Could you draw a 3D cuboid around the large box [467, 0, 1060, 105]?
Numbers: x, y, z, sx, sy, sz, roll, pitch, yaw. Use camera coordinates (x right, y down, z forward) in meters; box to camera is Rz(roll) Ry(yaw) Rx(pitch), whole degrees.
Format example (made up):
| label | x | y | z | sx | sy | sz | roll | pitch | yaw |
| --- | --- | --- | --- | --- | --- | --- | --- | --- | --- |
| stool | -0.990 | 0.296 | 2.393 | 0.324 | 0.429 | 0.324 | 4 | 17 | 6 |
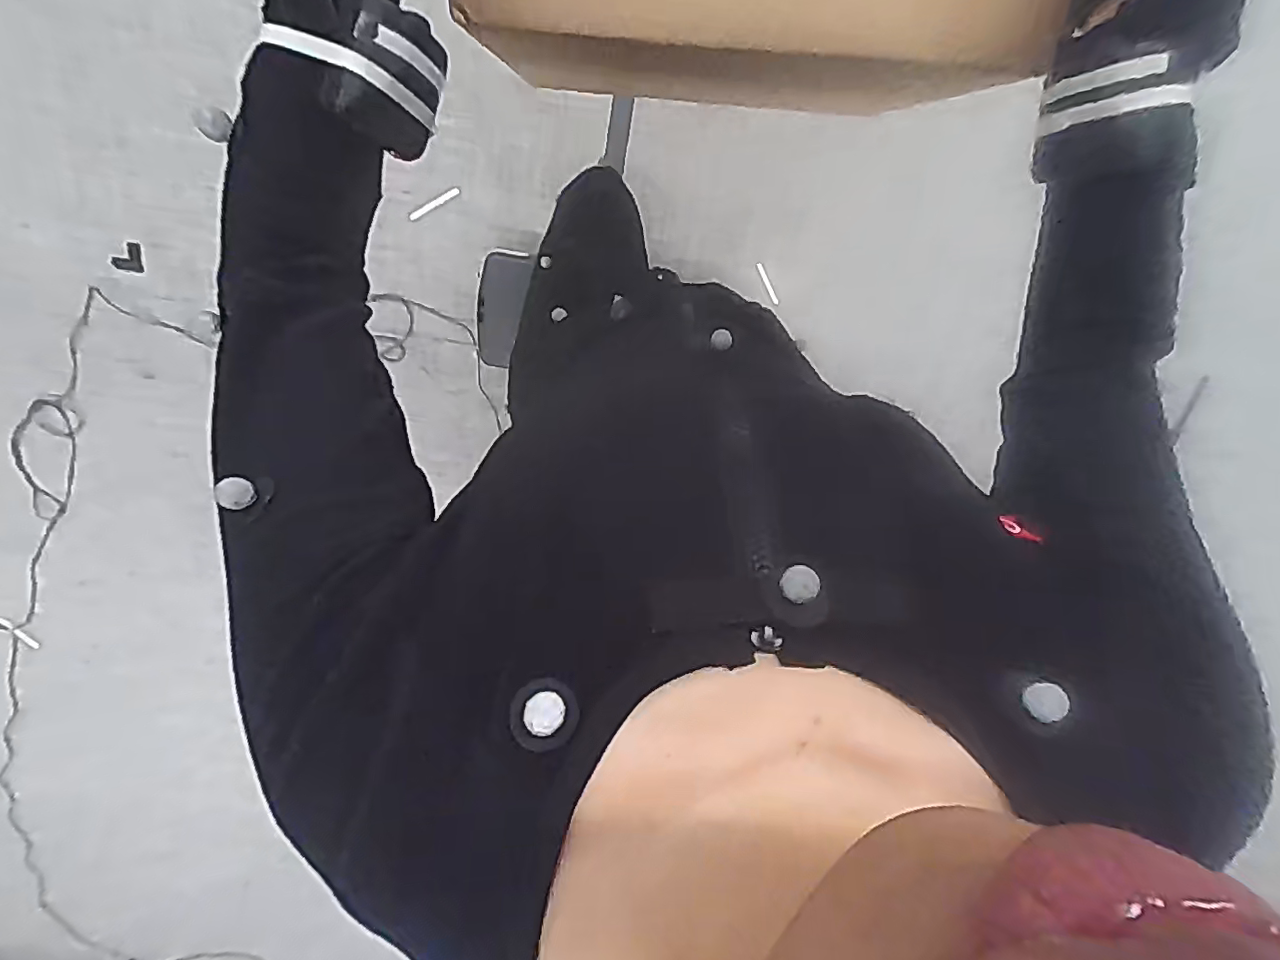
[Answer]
| label | x | y | z | sx | sy | sz | roll | pitch | yaw |
| --- | --- | --- | --- | --- | --- | --- | --- | --- | --- |
| large box | 0.082 | -0.503 | 0.421 | 0.408 | 0.320 | 0.320 | 2 | 120 | -4 |
